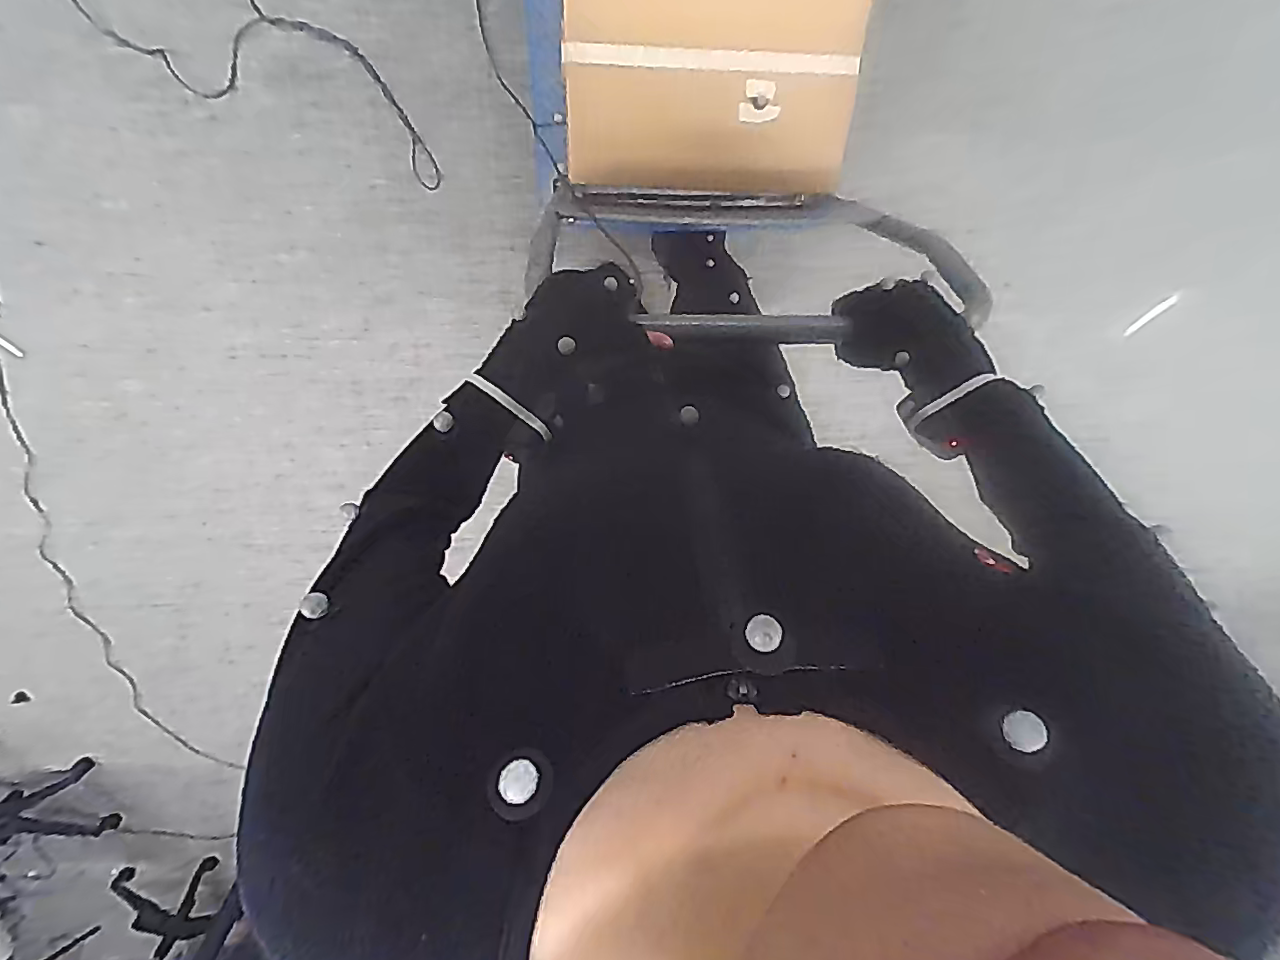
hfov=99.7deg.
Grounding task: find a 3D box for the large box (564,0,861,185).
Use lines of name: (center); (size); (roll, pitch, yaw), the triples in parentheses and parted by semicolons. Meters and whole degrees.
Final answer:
large box: (0.086, -0.660, 0.873); (0.408, 0.320, 0.320); (-1, 121, -5)
